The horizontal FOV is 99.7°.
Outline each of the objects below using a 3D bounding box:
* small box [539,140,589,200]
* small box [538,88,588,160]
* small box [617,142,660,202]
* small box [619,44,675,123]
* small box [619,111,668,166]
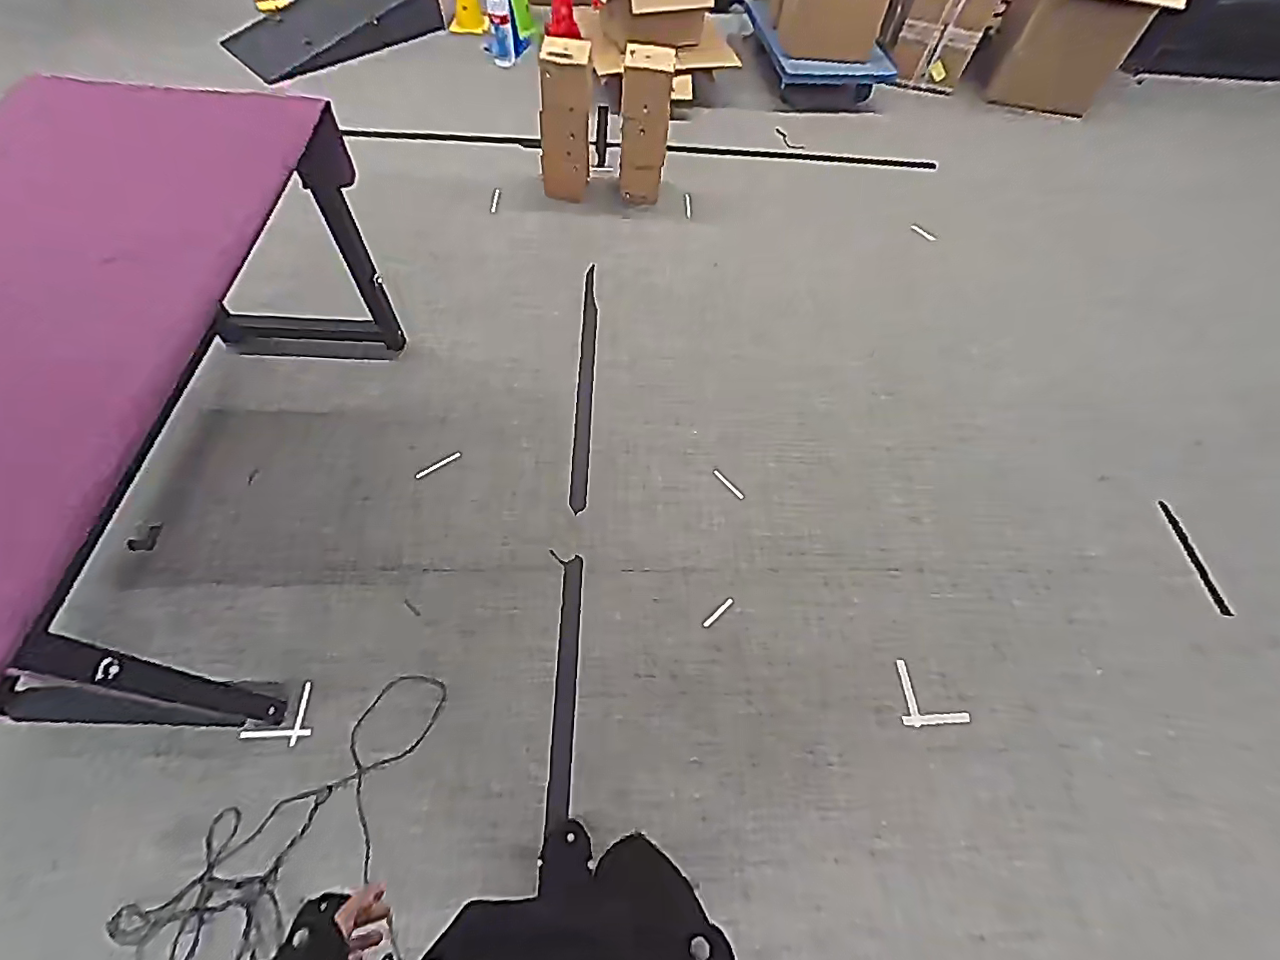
[{"bbox_3d":[-0.309,-1.277,2.217,0.179,0.176,0.168,7,60,-1],"label":"small box"},{"bbox_3d":[-0.293,-1.364,2.081,0.168,0.176,0.179,6,59,-4],"label":"small box"},{"bbox_3d":[-0.006,-1.281,2.245,0.168,0.176,0.179,1,60,-5],"label":"small box"},{"bbox_3d":[0.024,-1.425,1.950,0.179,0.176,0.168,6,60,-3],"label":"small box"},{"bbox_3d":[0.012,-1.347,2.094,0.179,0.176,0.168,3,61,-4],"label":"small box"}]
